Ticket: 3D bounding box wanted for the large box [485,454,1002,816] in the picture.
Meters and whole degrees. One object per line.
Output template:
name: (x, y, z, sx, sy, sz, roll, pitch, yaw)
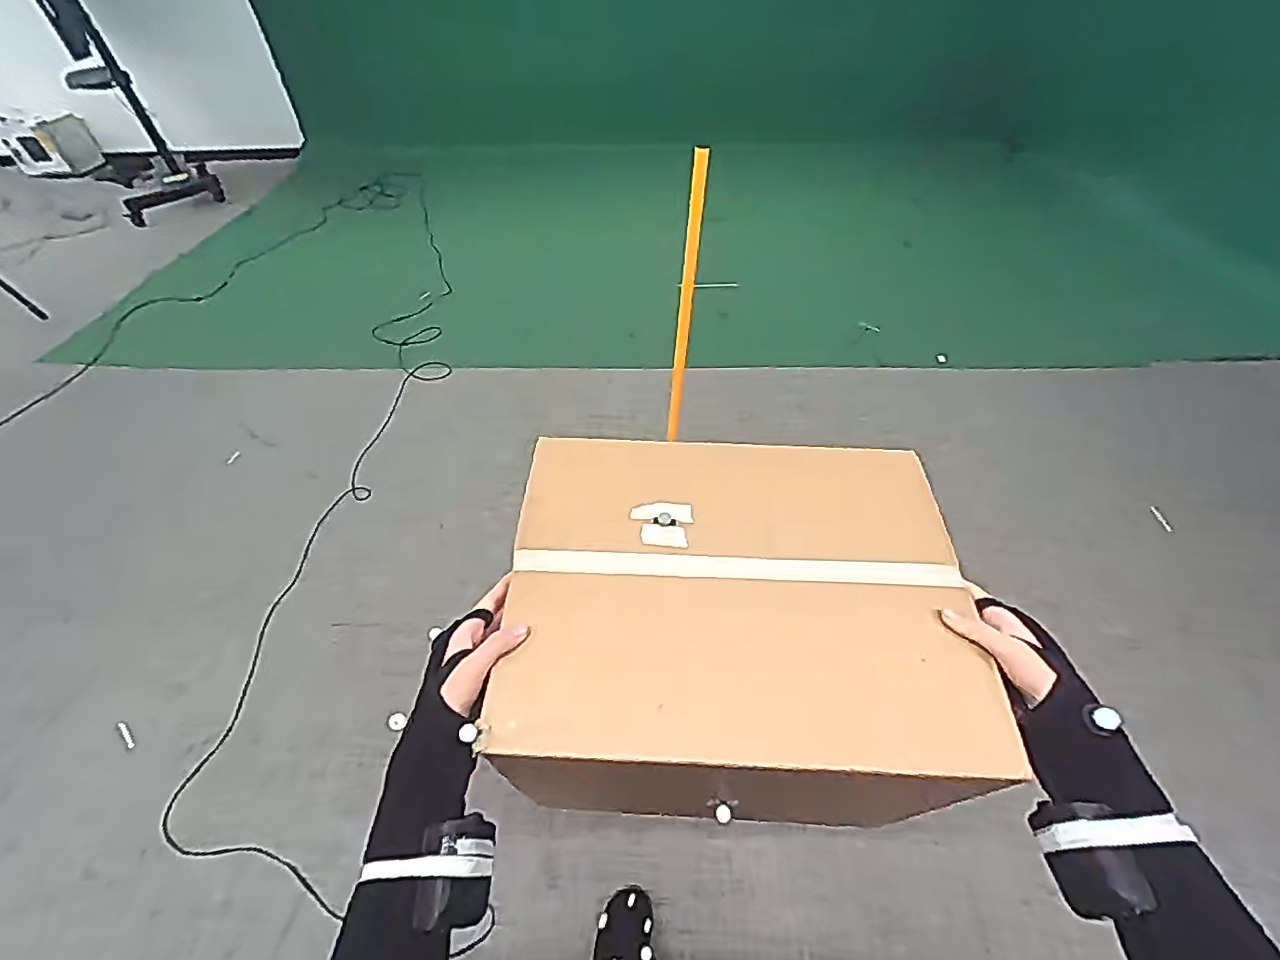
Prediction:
large box: (0.086, 0.187, 0.619, 0.408, 0.320, 0.320, 2, 52, 2)
